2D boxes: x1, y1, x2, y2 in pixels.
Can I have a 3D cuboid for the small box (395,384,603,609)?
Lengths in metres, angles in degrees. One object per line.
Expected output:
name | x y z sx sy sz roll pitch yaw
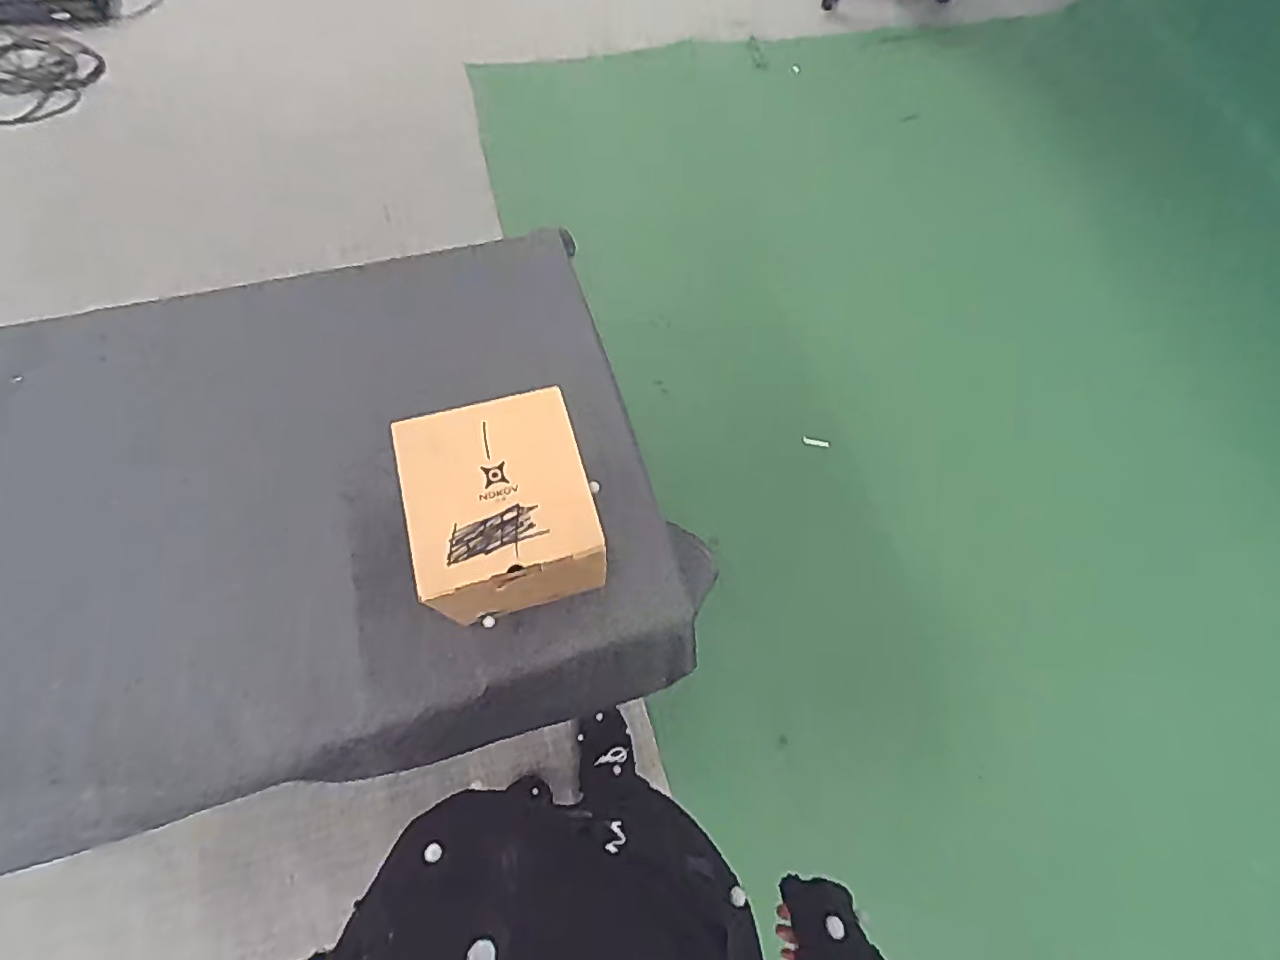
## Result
small box | -0.138 0.029 0.577 0.168 0.176 0.179 -15 70 -10
